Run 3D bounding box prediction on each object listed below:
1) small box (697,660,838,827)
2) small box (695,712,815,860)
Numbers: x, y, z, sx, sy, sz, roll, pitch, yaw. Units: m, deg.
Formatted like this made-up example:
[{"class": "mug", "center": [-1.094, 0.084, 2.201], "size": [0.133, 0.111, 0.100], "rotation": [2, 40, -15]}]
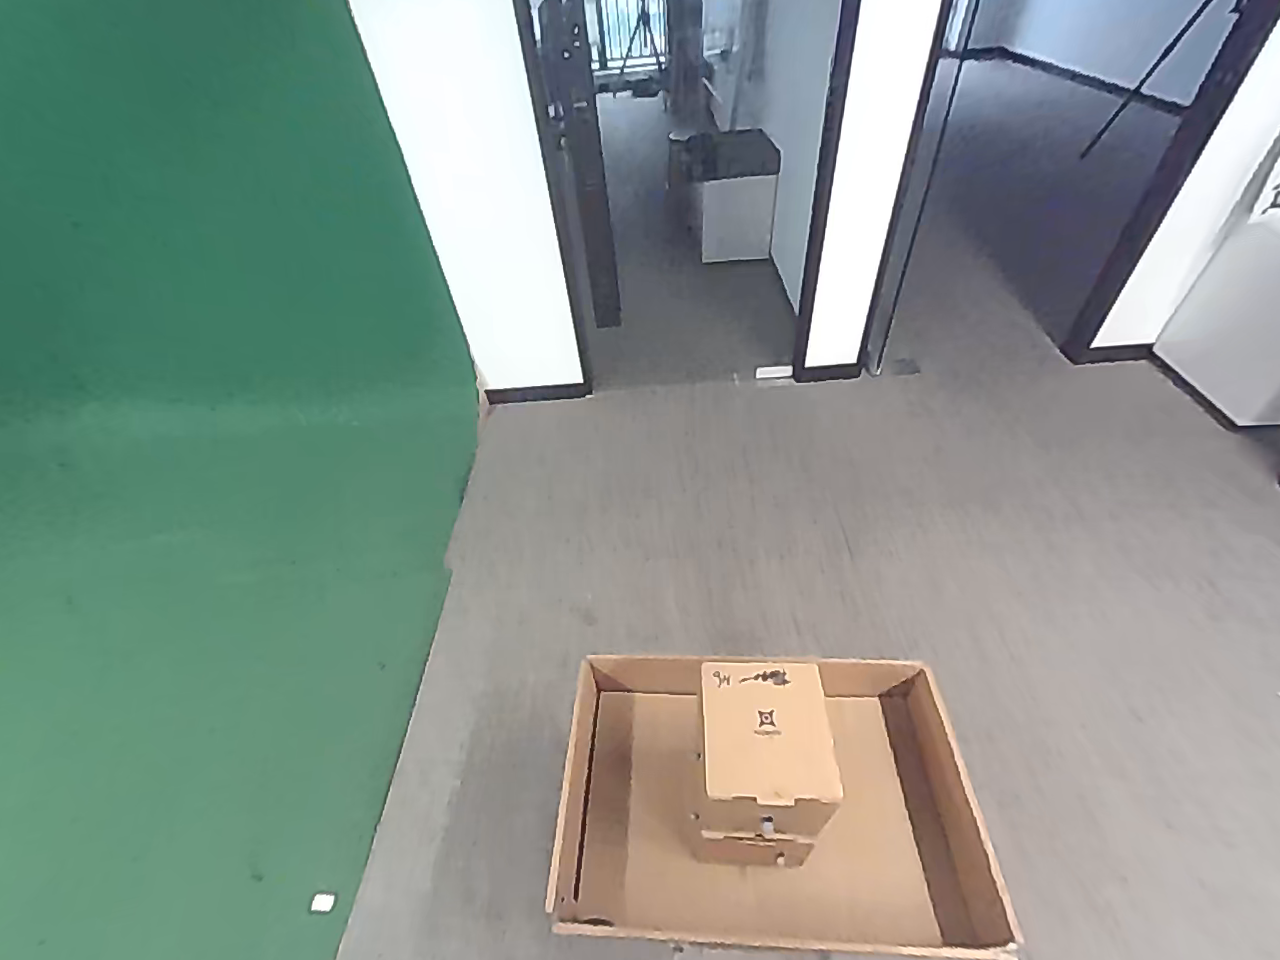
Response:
[{"class": "small box", "center": [0.168, 0.376, 0.768], "size": [0.168, 0.176, 0.179], "rotation": [0, 46, 4]}, {"class": "small box", "center": [0.174, 0.498, 0.878], "size": [0.168, 0.176, 0.179], "rotation": [0, 43, 3]}]
